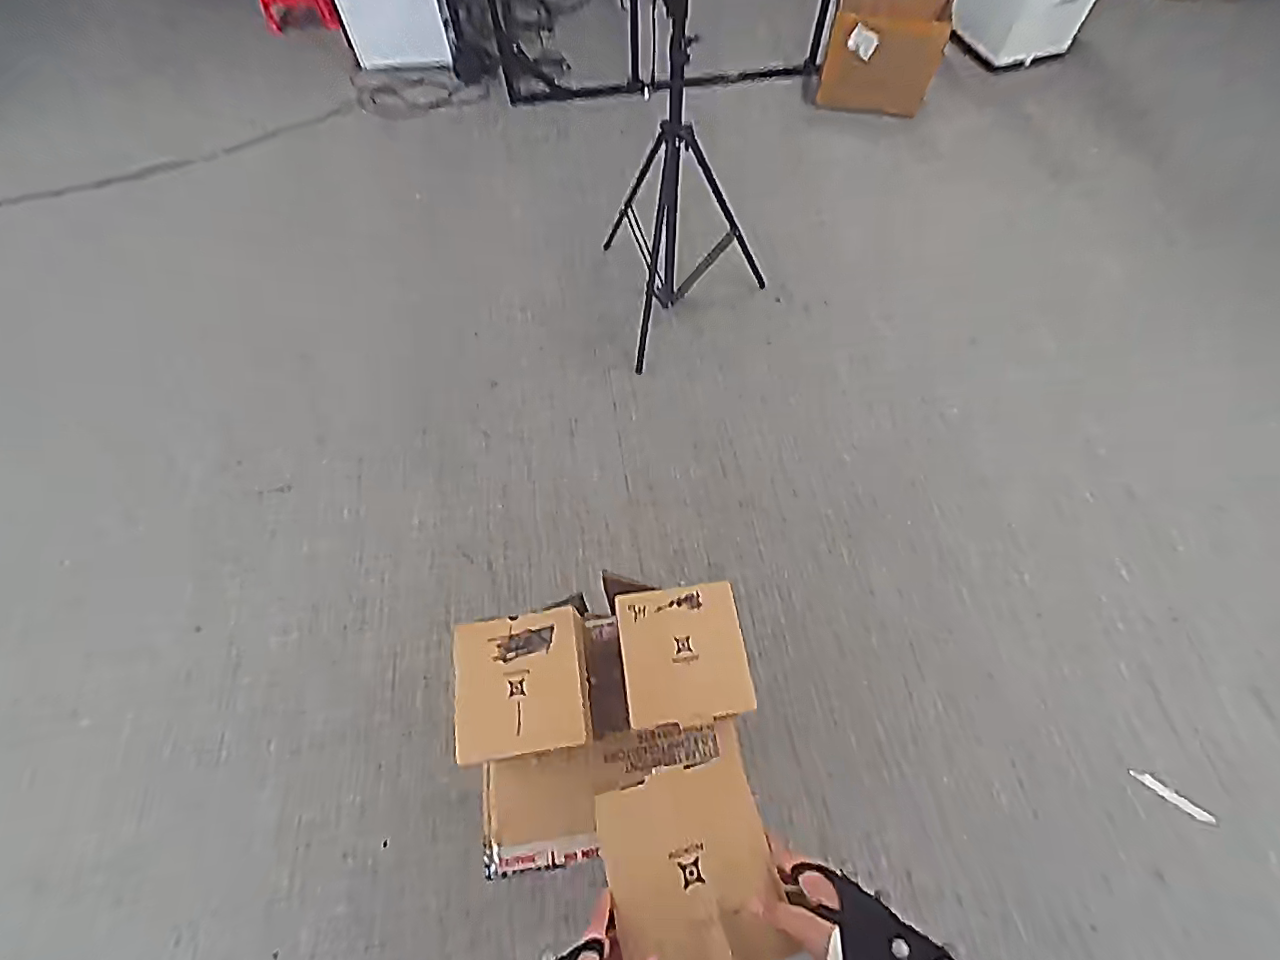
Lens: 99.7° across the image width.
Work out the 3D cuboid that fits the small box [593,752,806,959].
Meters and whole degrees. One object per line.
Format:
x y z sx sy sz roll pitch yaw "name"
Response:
0.057 0.425 0.586 0.168 0.176 0.179 -16 53 -4 "small box"
